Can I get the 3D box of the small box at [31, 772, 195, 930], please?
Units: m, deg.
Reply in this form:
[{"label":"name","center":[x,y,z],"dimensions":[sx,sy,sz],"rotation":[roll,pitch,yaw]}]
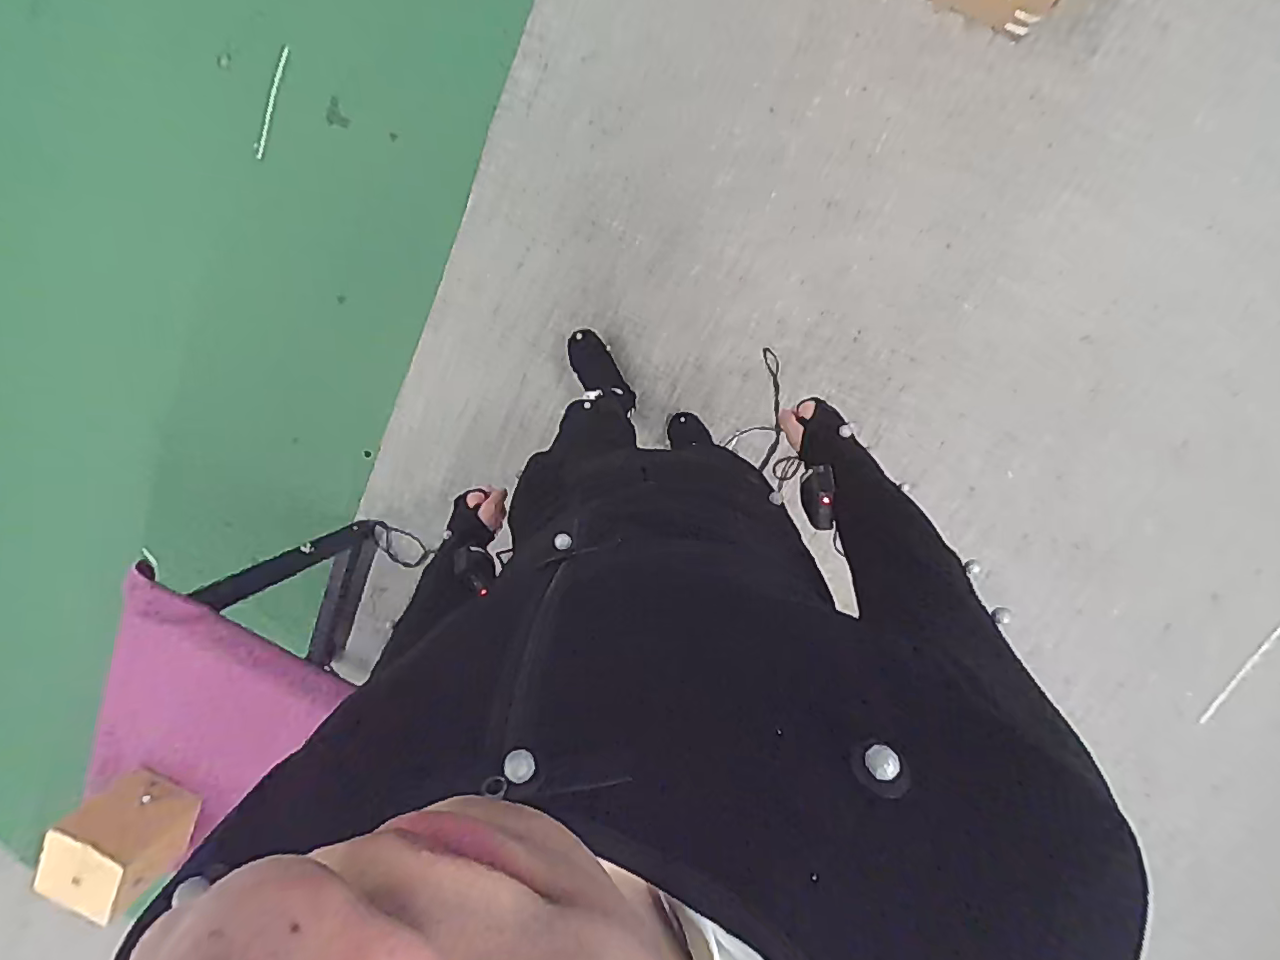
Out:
[{"label":"small box","center":[-1.074,0.755,1.116],"dimensions":[0.168,0.176,0.179],"rotation":[27,104,0]}]
